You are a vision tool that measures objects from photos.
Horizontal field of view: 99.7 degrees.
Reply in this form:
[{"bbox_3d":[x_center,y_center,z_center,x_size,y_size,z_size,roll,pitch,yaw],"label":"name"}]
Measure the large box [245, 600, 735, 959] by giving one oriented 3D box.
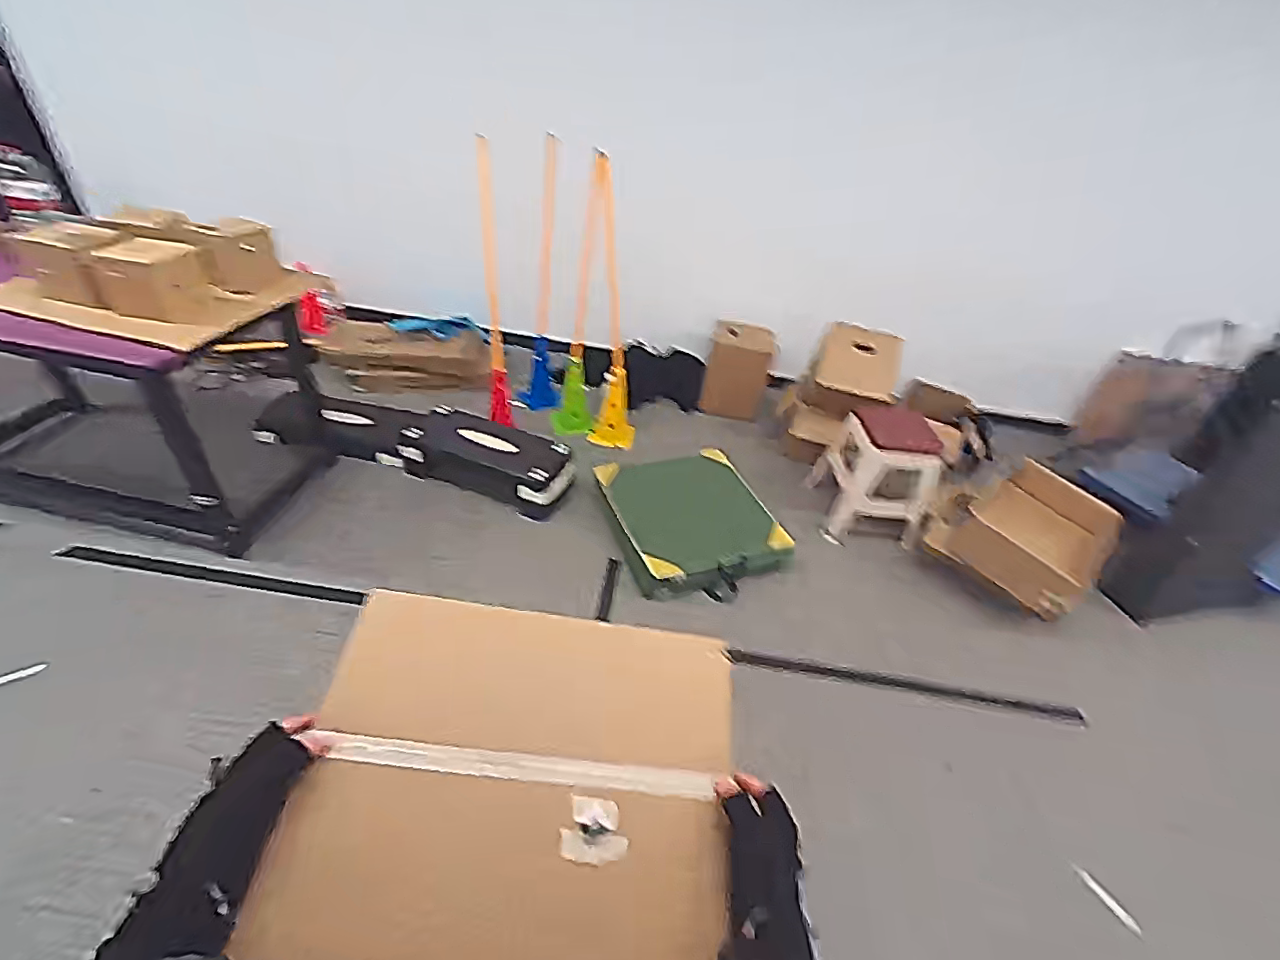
[{"bbox_3d":[-0.134,0.375,0.644,0.408,0.320,0.320,11,50,-6],"label":"large box"}]
